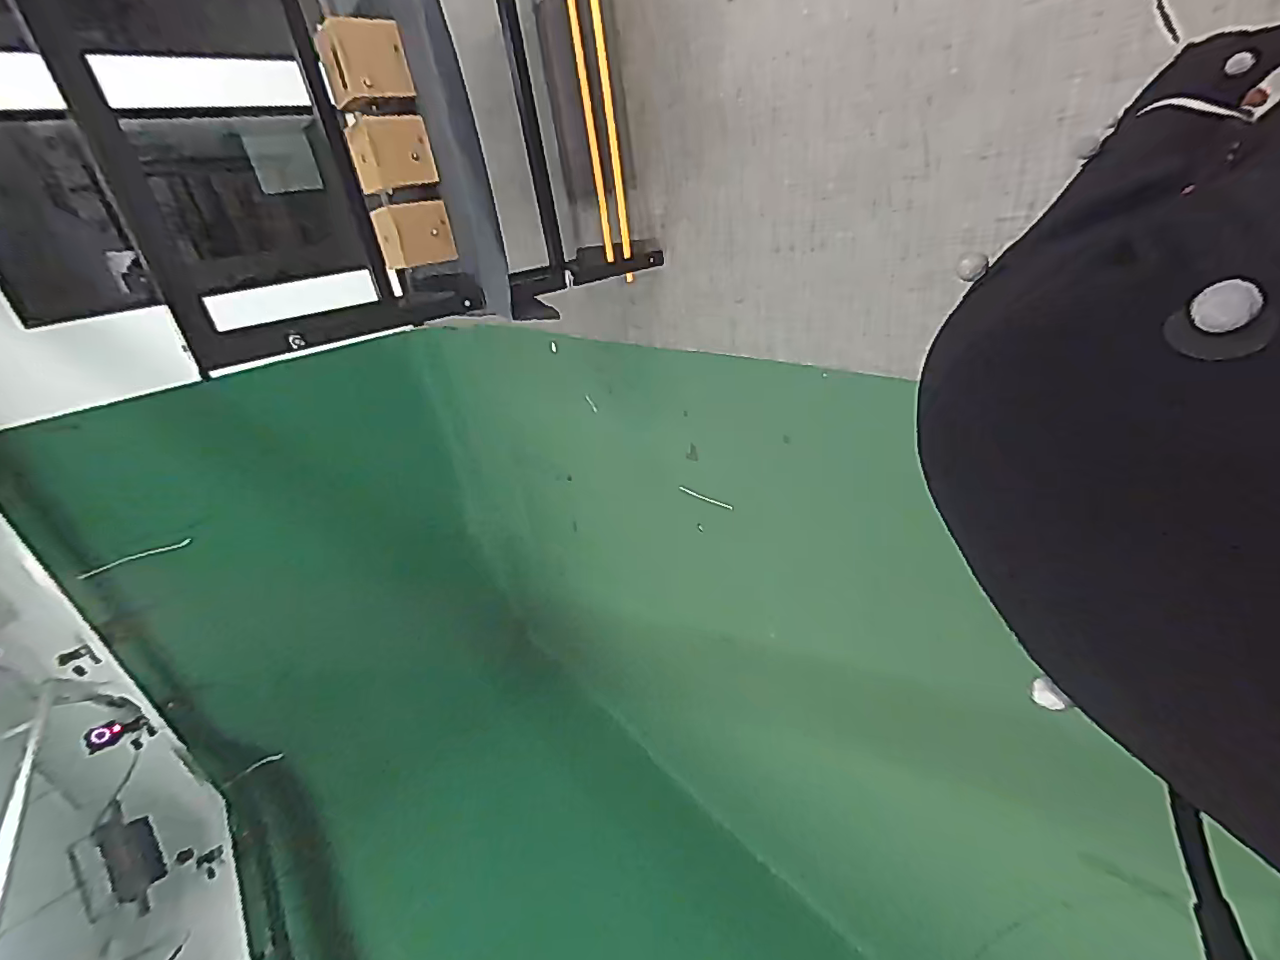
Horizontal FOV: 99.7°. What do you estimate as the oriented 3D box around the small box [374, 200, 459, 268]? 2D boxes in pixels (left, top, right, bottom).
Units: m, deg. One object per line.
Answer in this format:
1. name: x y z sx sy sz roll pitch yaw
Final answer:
1. small box: -0.676 -0.745 1.643 0.179 0.176 0.168 21 129 46
